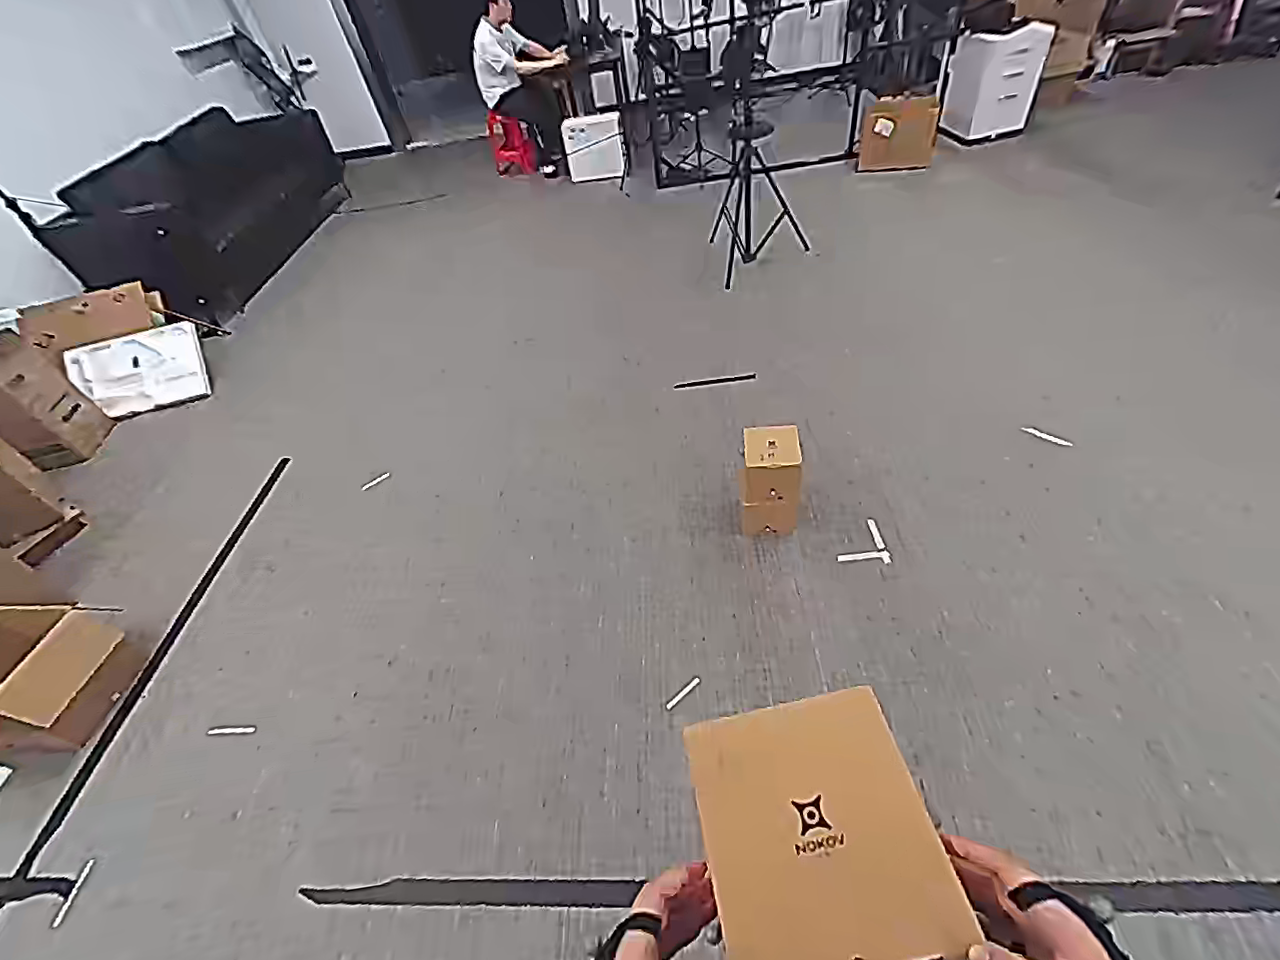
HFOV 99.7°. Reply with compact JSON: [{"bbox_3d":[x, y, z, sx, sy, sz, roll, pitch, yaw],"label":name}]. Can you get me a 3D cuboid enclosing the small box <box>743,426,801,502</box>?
[{"bbox_3d":[0.409,-0.049,1.703,0.168,0.176,0.179,-3,47,10],"label":"small box"}]
